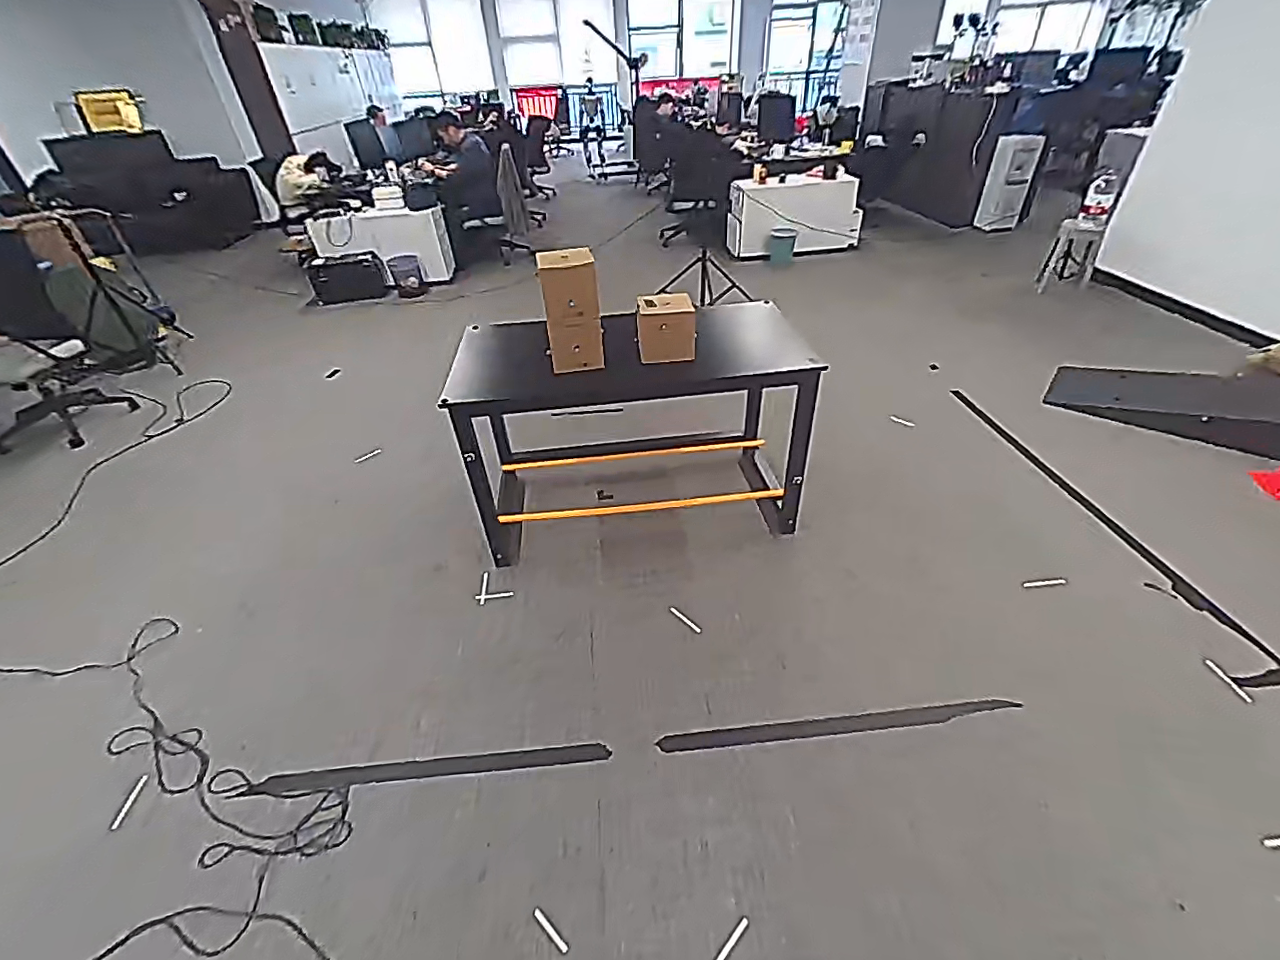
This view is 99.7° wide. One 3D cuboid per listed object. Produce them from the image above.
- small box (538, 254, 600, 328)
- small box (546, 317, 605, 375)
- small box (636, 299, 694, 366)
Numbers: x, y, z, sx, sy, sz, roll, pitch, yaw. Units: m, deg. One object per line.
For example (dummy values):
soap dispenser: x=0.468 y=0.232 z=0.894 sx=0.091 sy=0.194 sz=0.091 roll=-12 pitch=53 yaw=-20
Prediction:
small box: x=-0.223 y=-0.590 z=1.688 sx=0.168 sy=0.176 sz=0.179 roll=-10 pitch=38 yaw=-7
small box: x=-0.213 y=-0.456 z=1.785 sx=0.168 sy=0.176 sz=0.179 roll=-9 pitch=38 yaw=-6
small box: x=0.083 y=-0.490 z=1.801 sx=0.179 sy=0.176 sz=0.168 roll=-5 pitch=37 yaw=-2
